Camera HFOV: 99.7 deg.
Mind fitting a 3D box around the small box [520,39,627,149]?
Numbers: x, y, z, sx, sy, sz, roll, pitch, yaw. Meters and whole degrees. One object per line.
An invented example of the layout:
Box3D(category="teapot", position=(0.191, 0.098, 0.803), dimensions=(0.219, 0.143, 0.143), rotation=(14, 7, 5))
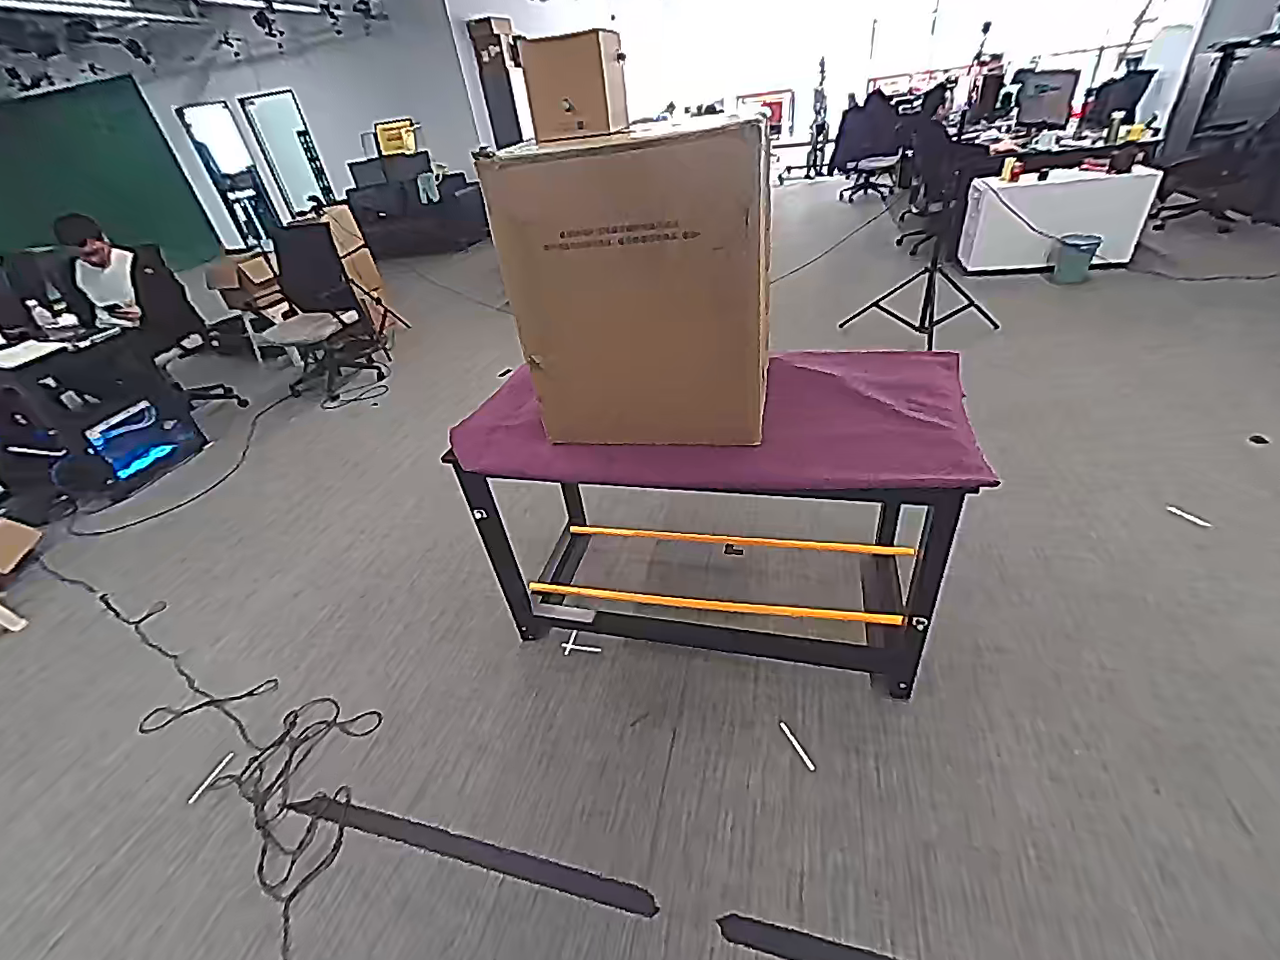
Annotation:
Box3D(category="small box", position=(-0.129, -0.806, 1.139), dimensions=(0.168, 0.176, 0.179), rotation=(2, 37, 14))
